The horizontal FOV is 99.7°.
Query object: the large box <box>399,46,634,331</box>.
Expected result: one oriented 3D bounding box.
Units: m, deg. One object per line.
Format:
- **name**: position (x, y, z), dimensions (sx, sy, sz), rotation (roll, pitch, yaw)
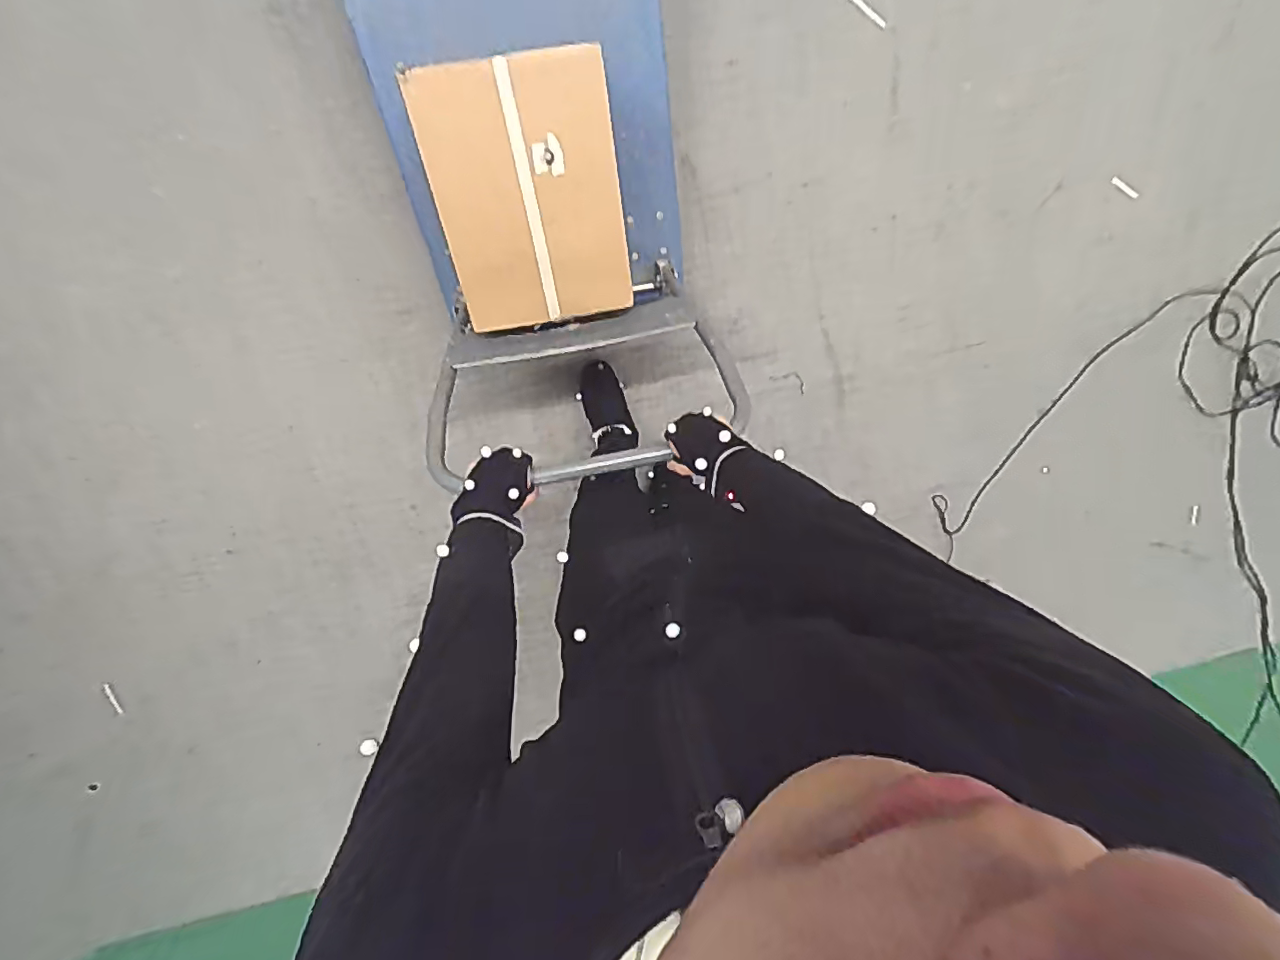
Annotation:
- **large box**: position (-0.208, -0.554, 1.055), dimensions (0.320, 0.320, 0.408), rotation (-11, 124, -3)
